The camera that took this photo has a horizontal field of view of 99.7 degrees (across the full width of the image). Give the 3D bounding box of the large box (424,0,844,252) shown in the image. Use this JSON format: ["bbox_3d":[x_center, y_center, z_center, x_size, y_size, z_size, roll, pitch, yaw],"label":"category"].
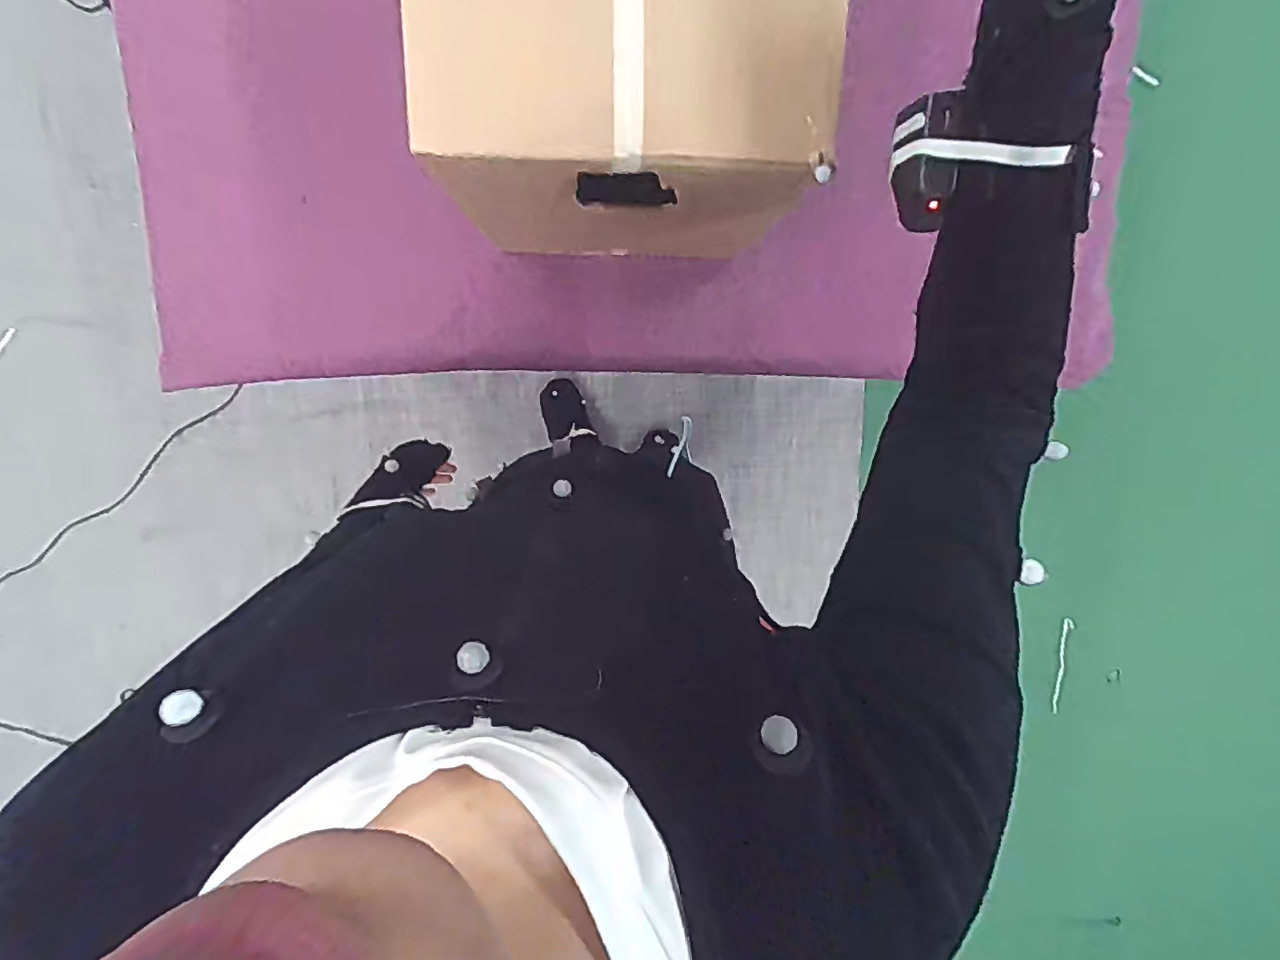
[{"bbox_3d":[-0.010,-0.468,0.520,0.320,0.320,0.408,1,102,-3],"label":"large box"}]
